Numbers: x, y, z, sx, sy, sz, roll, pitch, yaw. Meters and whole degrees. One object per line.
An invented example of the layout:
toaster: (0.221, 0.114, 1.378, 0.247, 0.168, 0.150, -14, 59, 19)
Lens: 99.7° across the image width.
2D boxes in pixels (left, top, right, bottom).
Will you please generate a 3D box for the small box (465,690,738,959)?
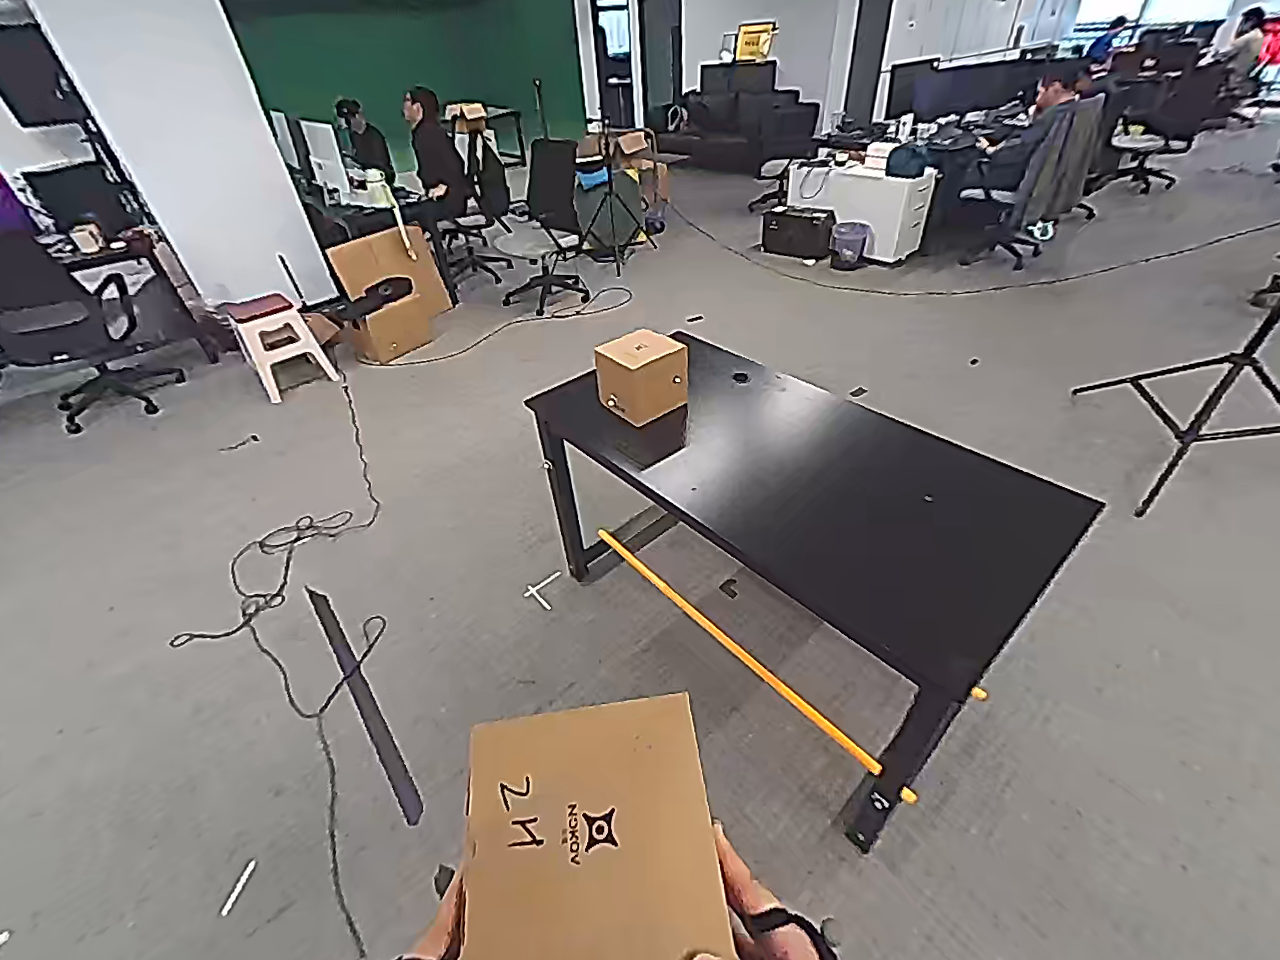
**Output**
small box: (-0.031, 0.290, 0.448, 0.179, 0.176, 0.168, -8, 53, -3)

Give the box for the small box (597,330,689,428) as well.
small box: (0.010, -0.264, 1.405, 0.179, 0.176, 0.168, -31, 45, -27)
